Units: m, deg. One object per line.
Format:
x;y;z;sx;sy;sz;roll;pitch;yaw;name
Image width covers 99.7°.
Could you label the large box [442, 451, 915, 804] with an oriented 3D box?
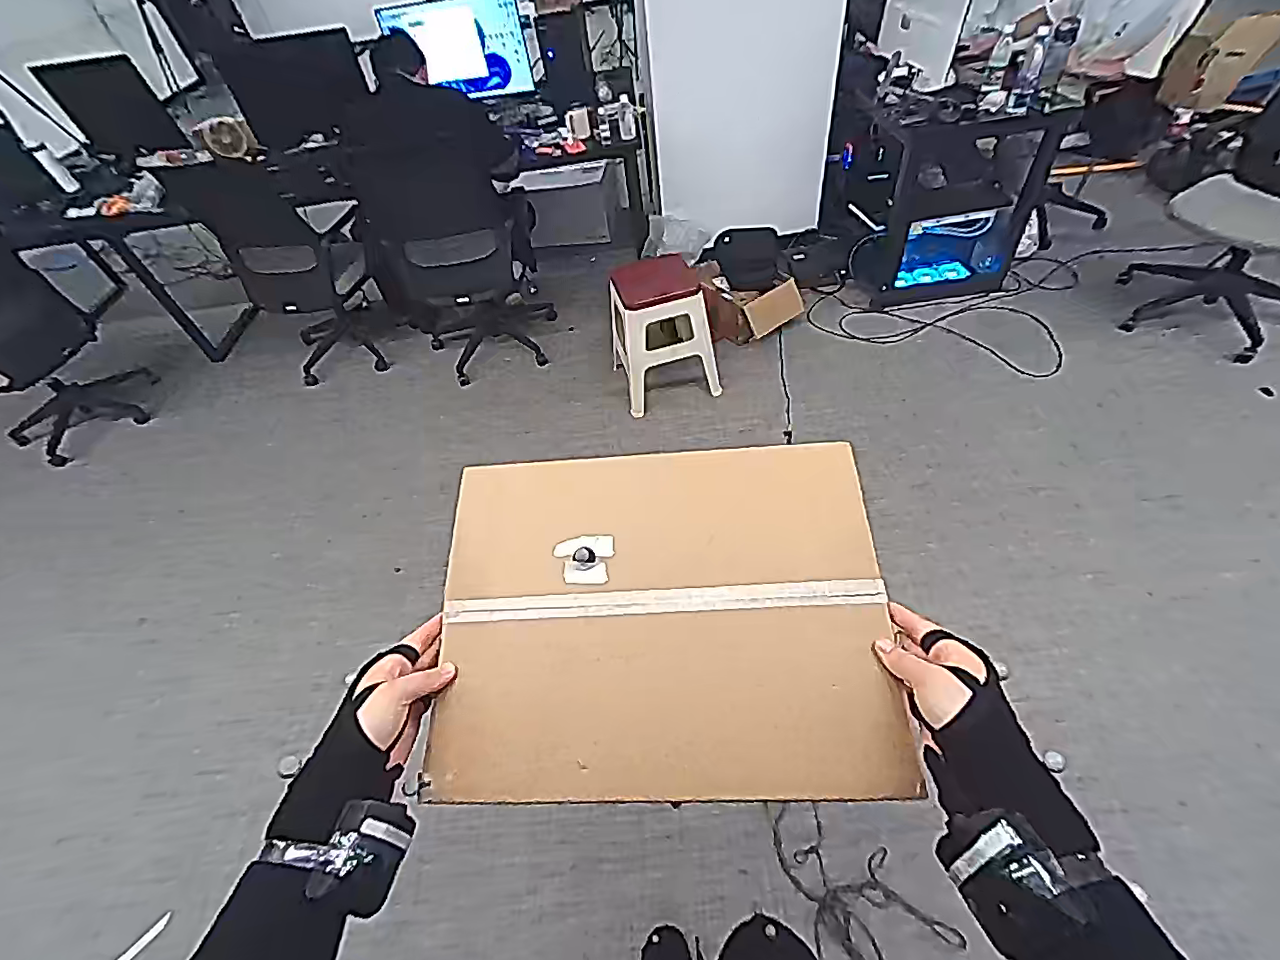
0.038;0.187;0.645;0.408;0.320;0.320;-4;63;6;large box
